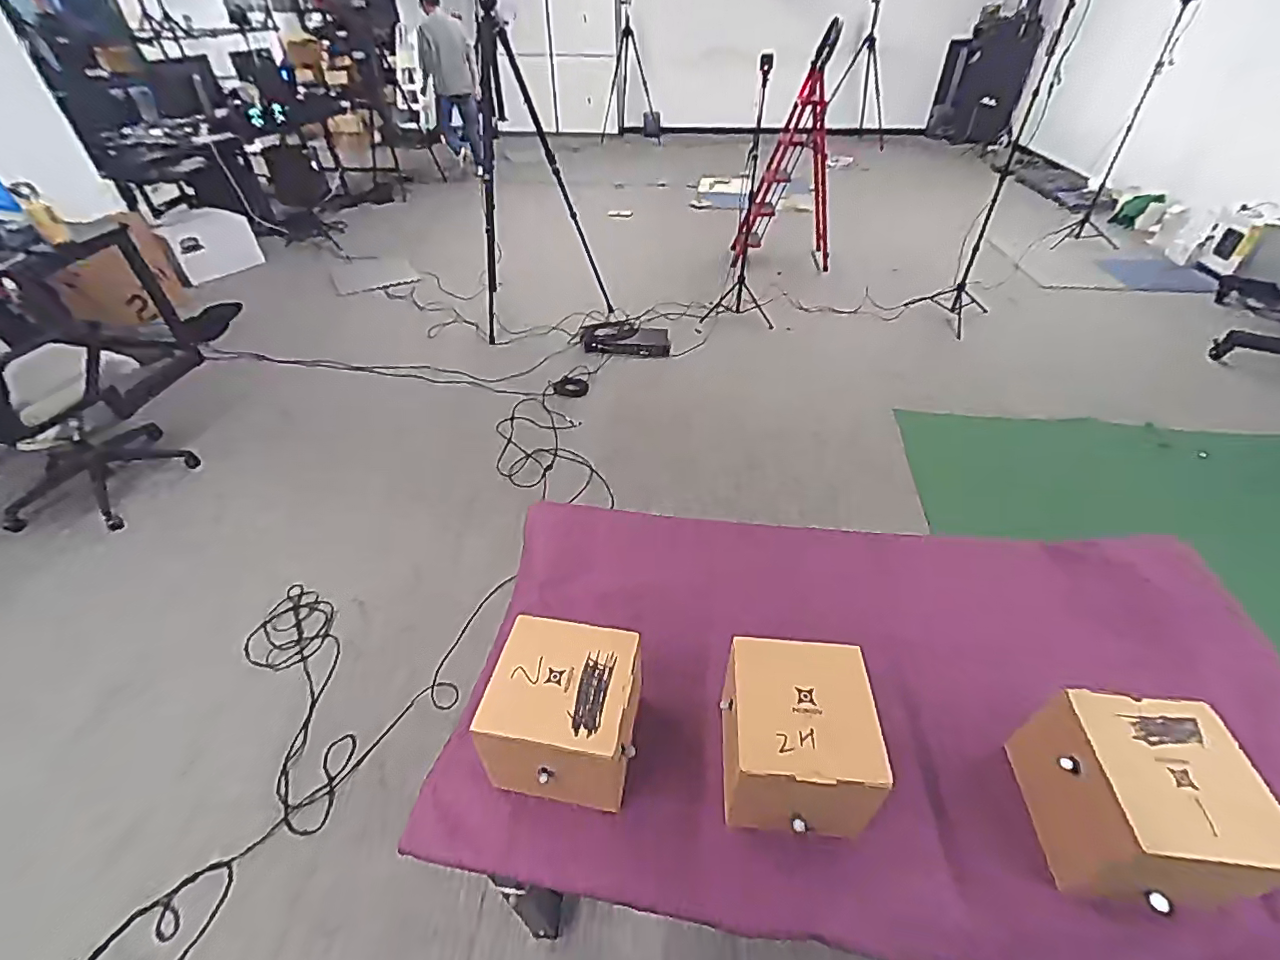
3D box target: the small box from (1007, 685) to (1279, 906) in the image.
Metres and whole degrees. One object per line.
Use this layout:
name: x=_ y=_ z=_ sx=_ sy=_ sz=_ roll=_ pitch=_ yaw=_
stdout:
small box: x=0.585 y=0.375 z=0.648 sx=0.168 sy=0.176 sz=0.179 roll=4 pitch=42 yaw=5

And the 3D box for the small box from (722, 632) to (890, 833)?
small box: x=0.197 y=0.325 z=0.703 sx=0.168 sy=0.176 sz=0.179 roll=3 pitch=40 yaw=4
